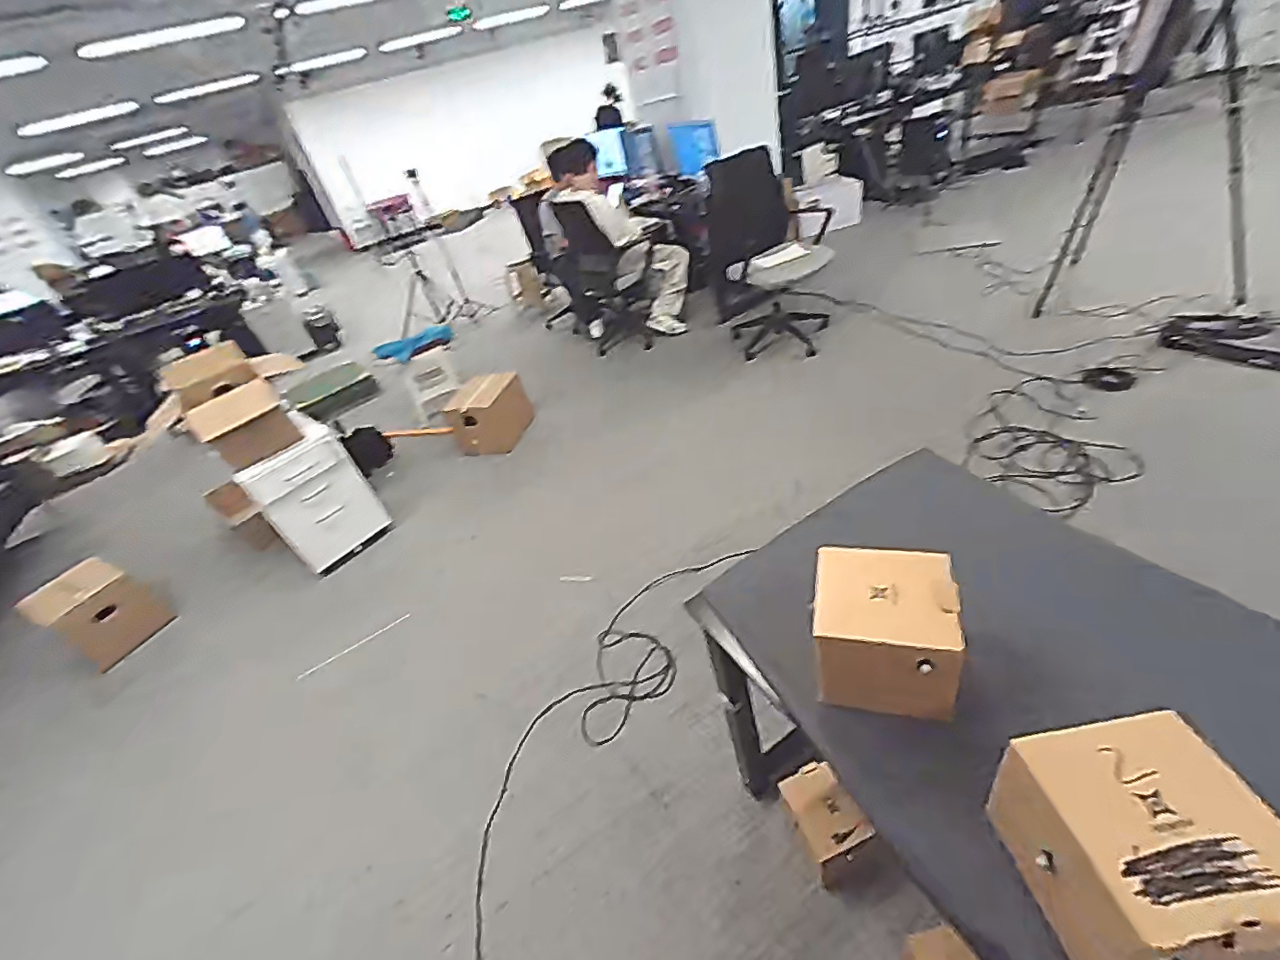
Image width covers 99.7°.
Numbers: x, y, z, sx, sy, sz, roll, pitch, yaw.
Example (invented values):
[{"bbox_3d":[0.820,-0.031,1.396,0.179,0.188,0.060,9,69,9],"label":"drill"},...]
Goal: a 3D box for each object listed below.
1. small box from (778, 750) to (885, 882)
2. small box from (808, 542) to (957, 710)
[{"bbox_3d":[0.436,0.773,1.245,0.168,0.176,0.179,-21,35,-7],"label":"small box"},{"bbox_3d":[0.345,0.210,0.786,0.179,0.176,0.168,1,39,21],"label":"small box"}]
